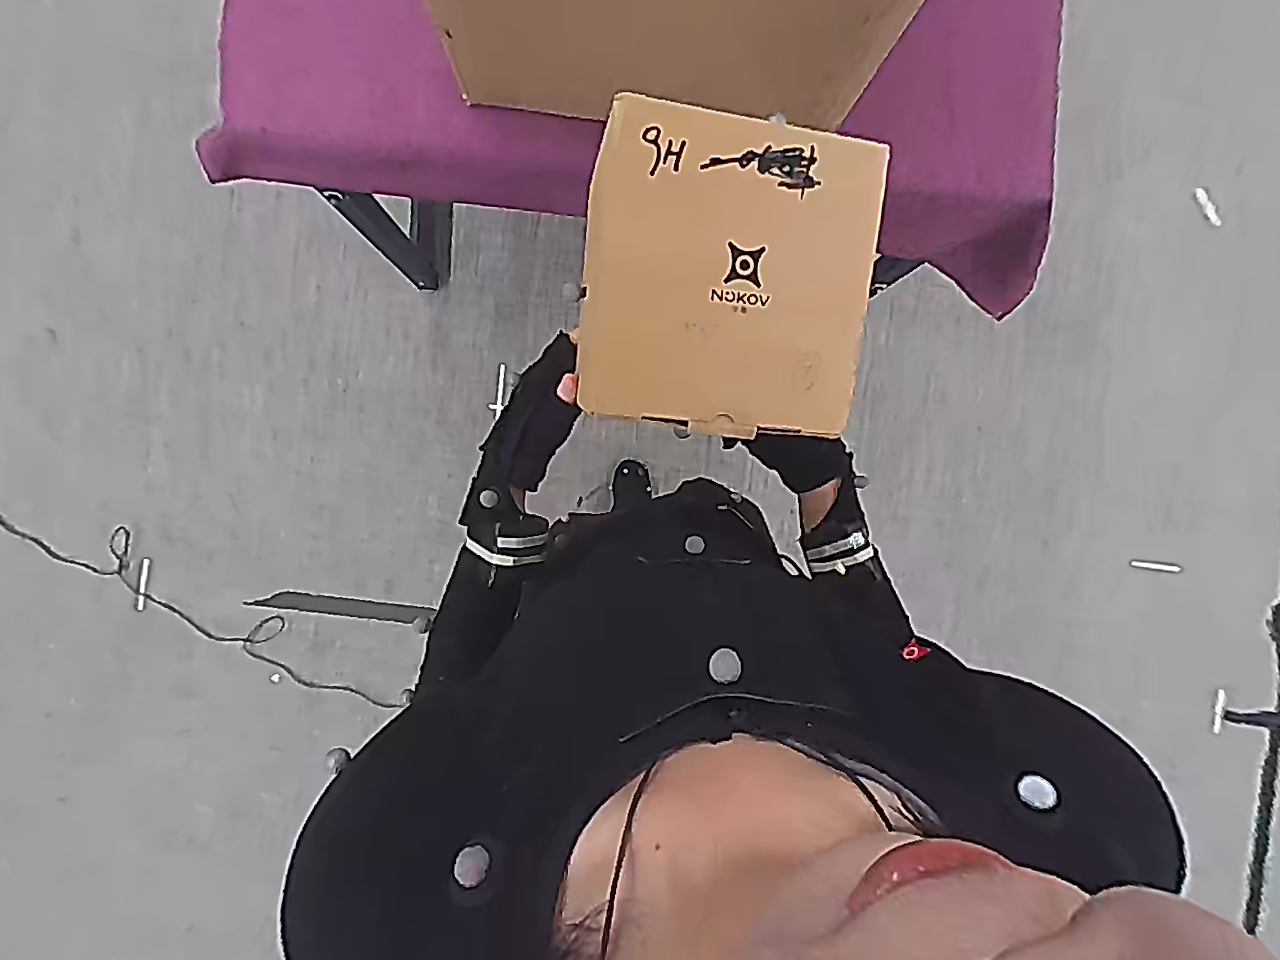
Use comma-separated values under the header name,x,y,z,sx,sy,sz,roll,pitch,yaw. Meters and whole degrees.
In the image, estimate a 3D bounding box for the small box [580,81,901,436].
name,x,y,z,sx,sy,sz,roll,pitch,yaw
small box,0.048,-0.134,0.387,0.168,0.176,0.179,3,101,-11
